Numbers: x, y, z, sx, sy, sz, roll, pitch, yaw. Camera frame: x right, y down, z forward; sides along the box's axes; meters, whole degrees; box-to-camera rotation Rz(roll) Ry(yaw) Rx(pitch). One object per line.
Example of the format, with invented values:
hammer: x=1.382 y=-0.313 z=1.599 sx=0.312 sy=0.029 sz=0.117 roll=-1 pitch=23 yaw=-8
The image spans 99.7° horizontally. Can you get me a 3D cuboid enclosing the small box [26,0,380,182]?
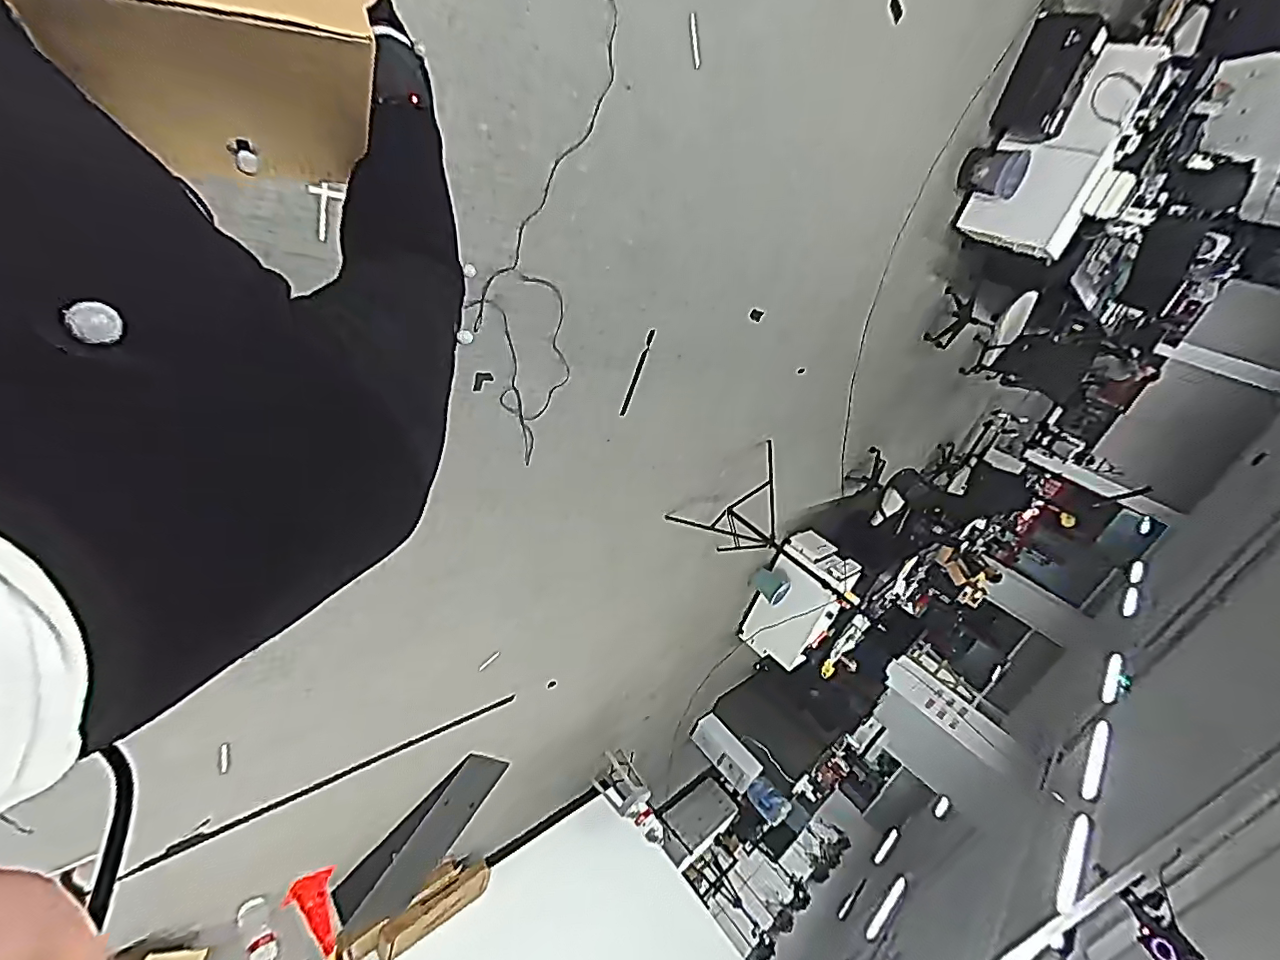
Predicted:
small box: x=-0.306 y=-0.340 z=0.387 sx=0.179 sy=0.176 sz=0.168 roll=-15 pitch=92 yaw=-30
